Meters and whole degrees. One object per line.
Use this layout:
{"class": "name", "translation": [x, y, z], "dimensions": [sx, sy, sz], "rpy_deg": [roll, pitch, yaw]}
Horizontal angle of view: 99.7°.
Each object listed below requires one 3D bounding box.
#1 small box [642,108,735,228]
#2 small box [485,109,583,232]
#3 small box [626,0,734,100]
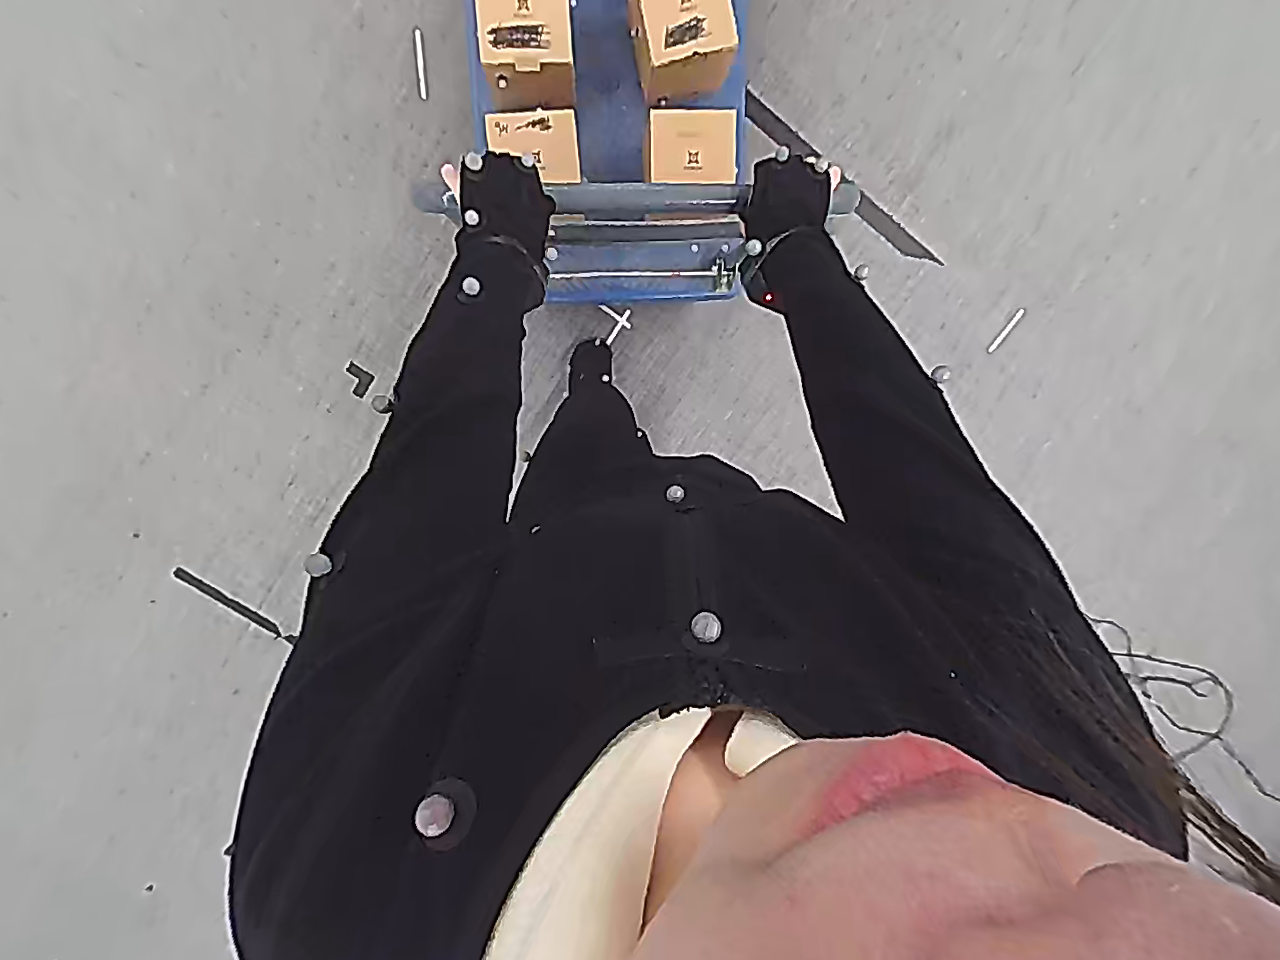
{"class": "small box", "translation": [0.093, -0.627, 1.108], "dimensions": [0.168, 0.176, 0.179], "rpy_deg": [-2, 101, -5]}
{"class": "small box", "translation": [-0.204, -0.608, 1.085], "dimensions": [0.168, 0.176, 0.179], "rpy_deg": [-6, 102, -4]}
{"class": "small box", "translation": [0.072, -0.879, 1.056], "dimensions": [0.168, 0.176, 0.179], "rpy_deg": [-14, 101, -2]}
